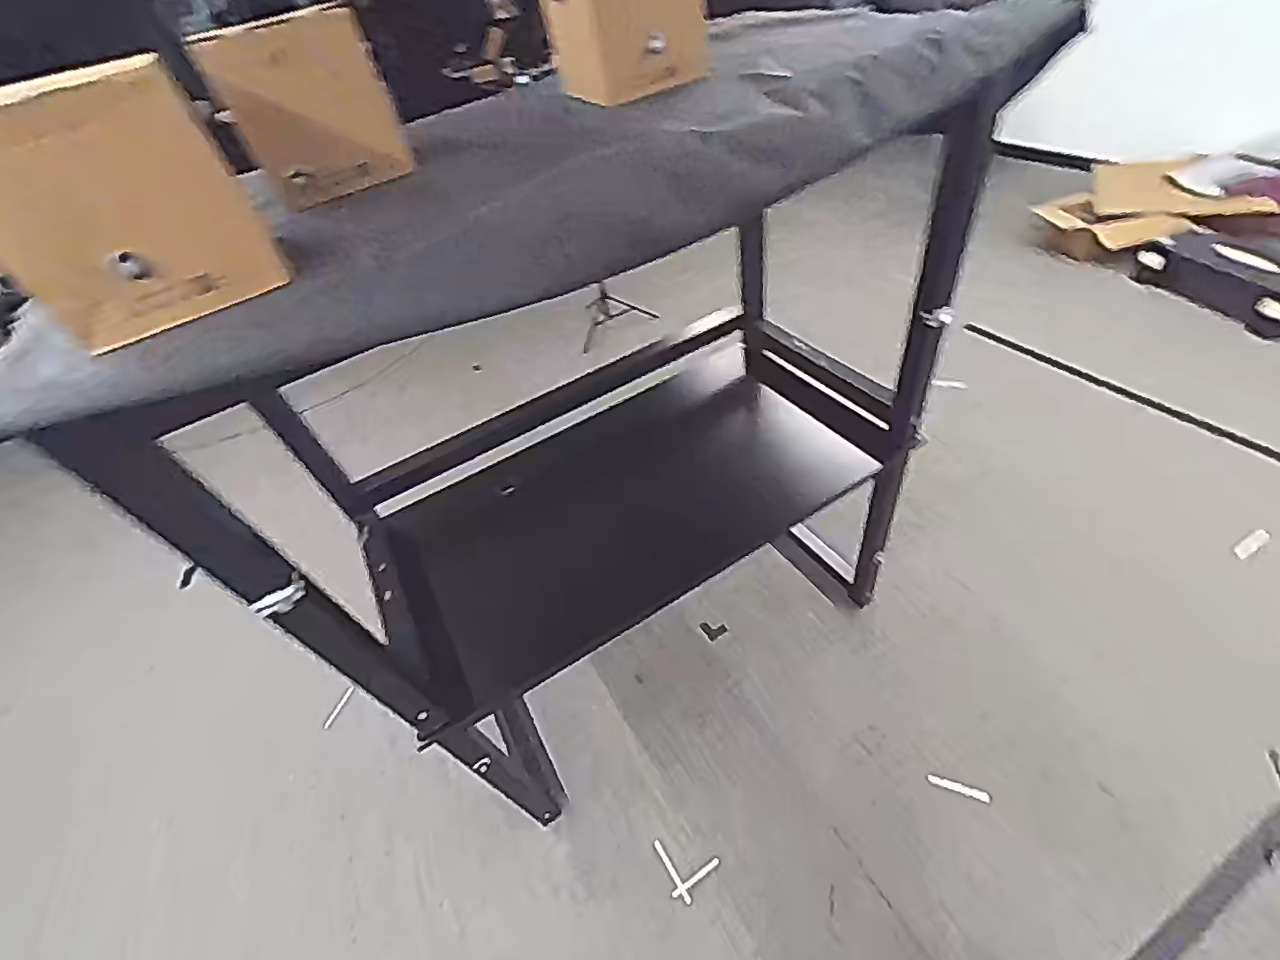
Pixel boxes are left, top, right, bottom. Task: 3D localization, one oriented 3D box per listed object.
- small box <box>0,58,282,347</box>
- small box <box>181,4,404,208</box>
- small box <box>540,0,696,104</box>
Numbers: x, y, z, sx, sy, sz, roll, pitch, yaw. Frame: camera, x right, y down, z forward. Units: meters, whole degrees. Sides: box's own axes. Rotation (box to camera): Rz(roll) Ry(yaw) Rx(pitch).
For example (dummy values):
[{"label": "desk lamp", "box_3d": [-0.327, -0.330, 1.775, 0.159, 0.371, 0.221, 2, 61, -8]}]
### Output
[{"label": "small box", "box_3d": [-0.451, -0.242, 0.470, 0.168, 0.176, 0.179, -32, 49, -17]}, {"label": "small box", "box_3d": [-0.420, -0.462, 0.675, 0.168, 0.176, 0.179, -29, 47, -14]}, {"label": "small box", "box_3d": [-0.036, -0.661, 0.773, 0.168, 0.176, 0.179, -27, 47, -12]}]
